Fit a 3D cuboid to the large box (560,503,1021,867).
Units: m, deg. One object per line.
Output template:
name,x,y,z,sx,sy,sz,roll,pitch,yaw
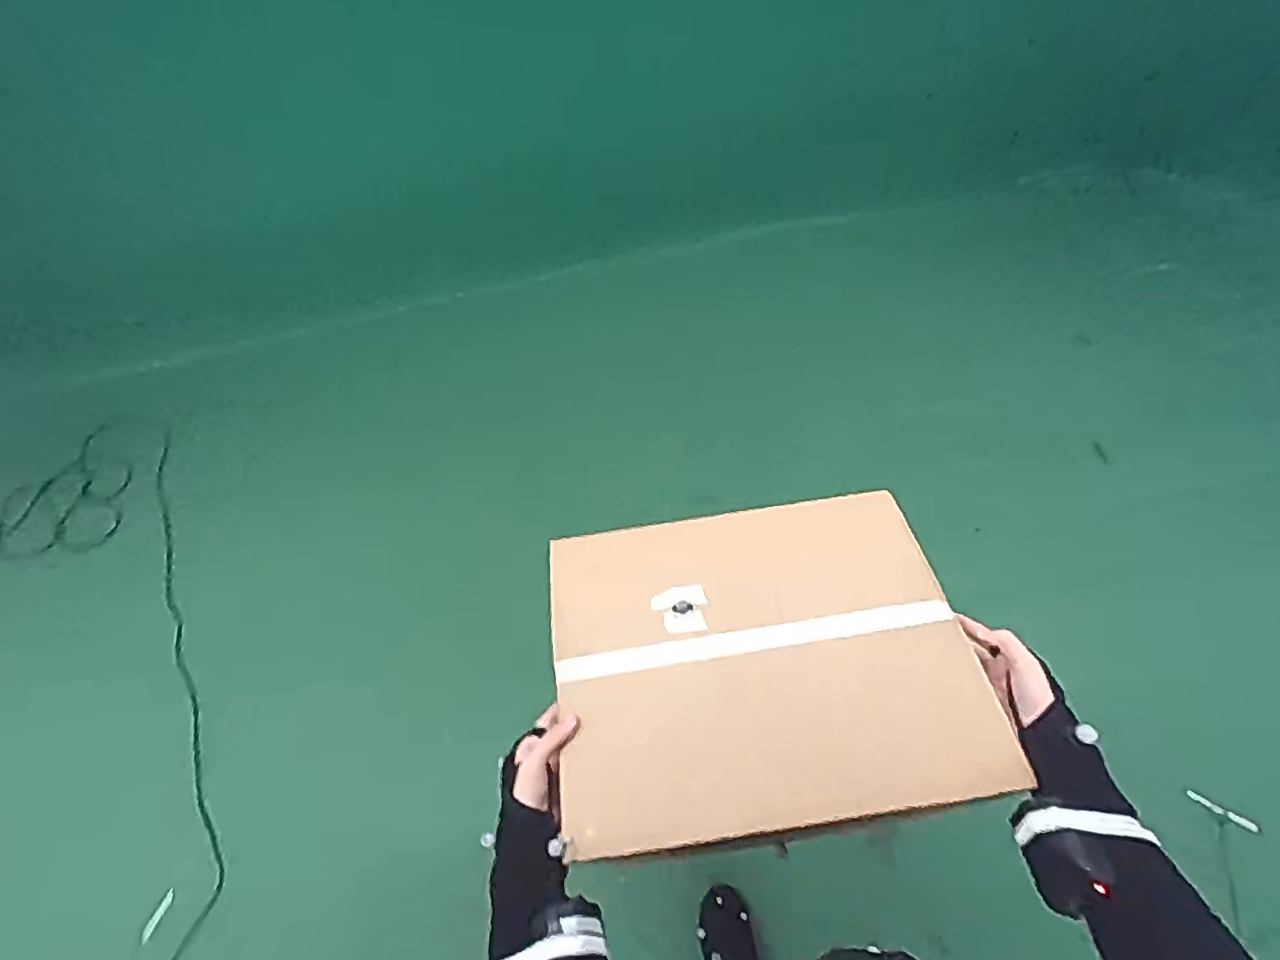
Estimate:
large box,0.135,0.266,0.674,0.408,0.320,0.320,-9,52,1
